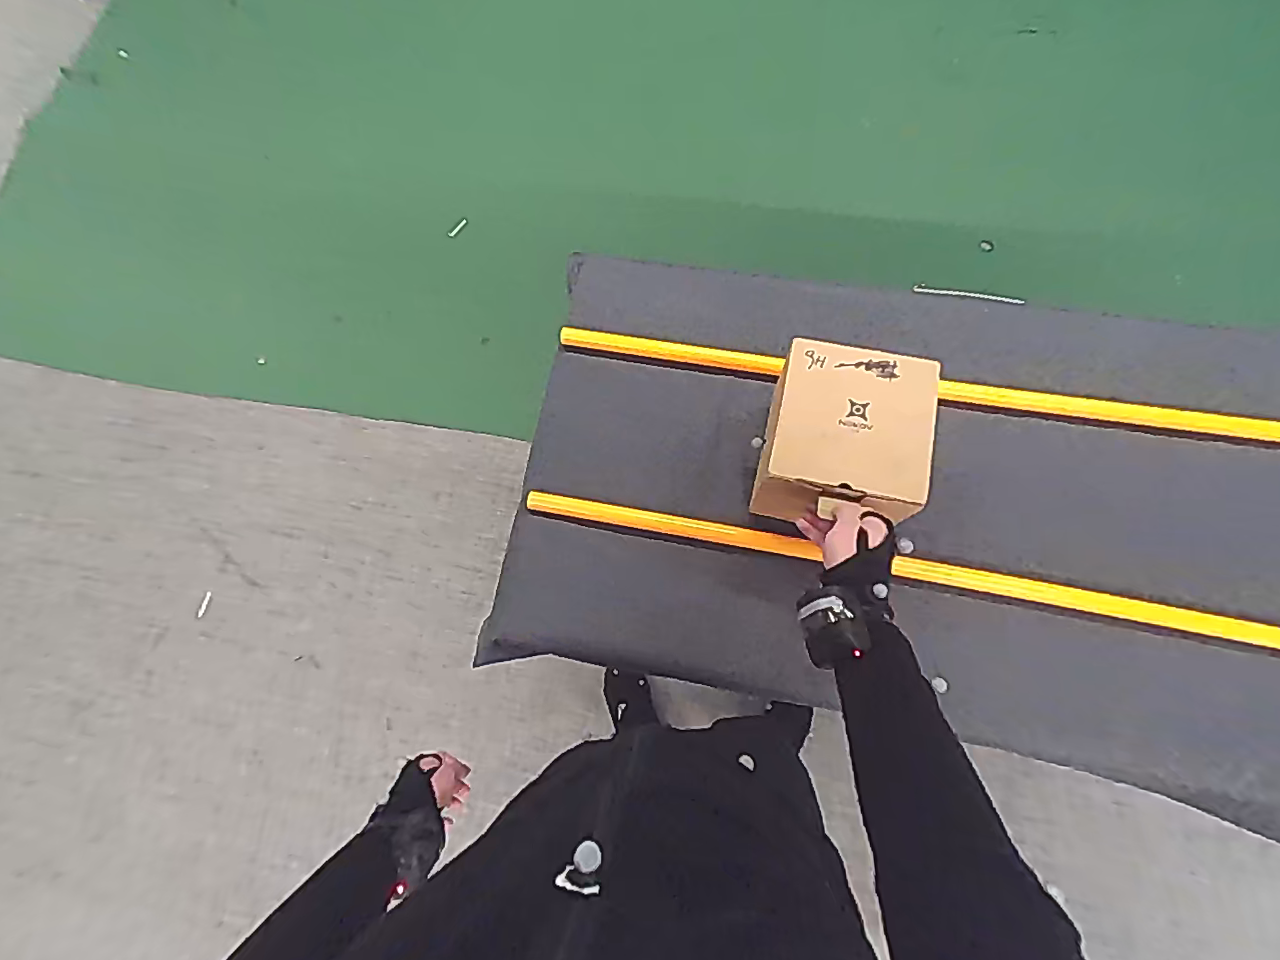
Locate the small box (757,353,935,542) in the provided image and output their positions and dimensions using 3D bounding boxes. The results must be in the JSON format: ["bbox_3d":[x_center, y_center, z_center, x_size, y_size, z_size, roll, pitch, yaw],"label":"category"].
[{"bbox_3d":[0.244,-0.031,0.675,0.168,0.176,0.179,10,73,9],"label":"small box"}]
